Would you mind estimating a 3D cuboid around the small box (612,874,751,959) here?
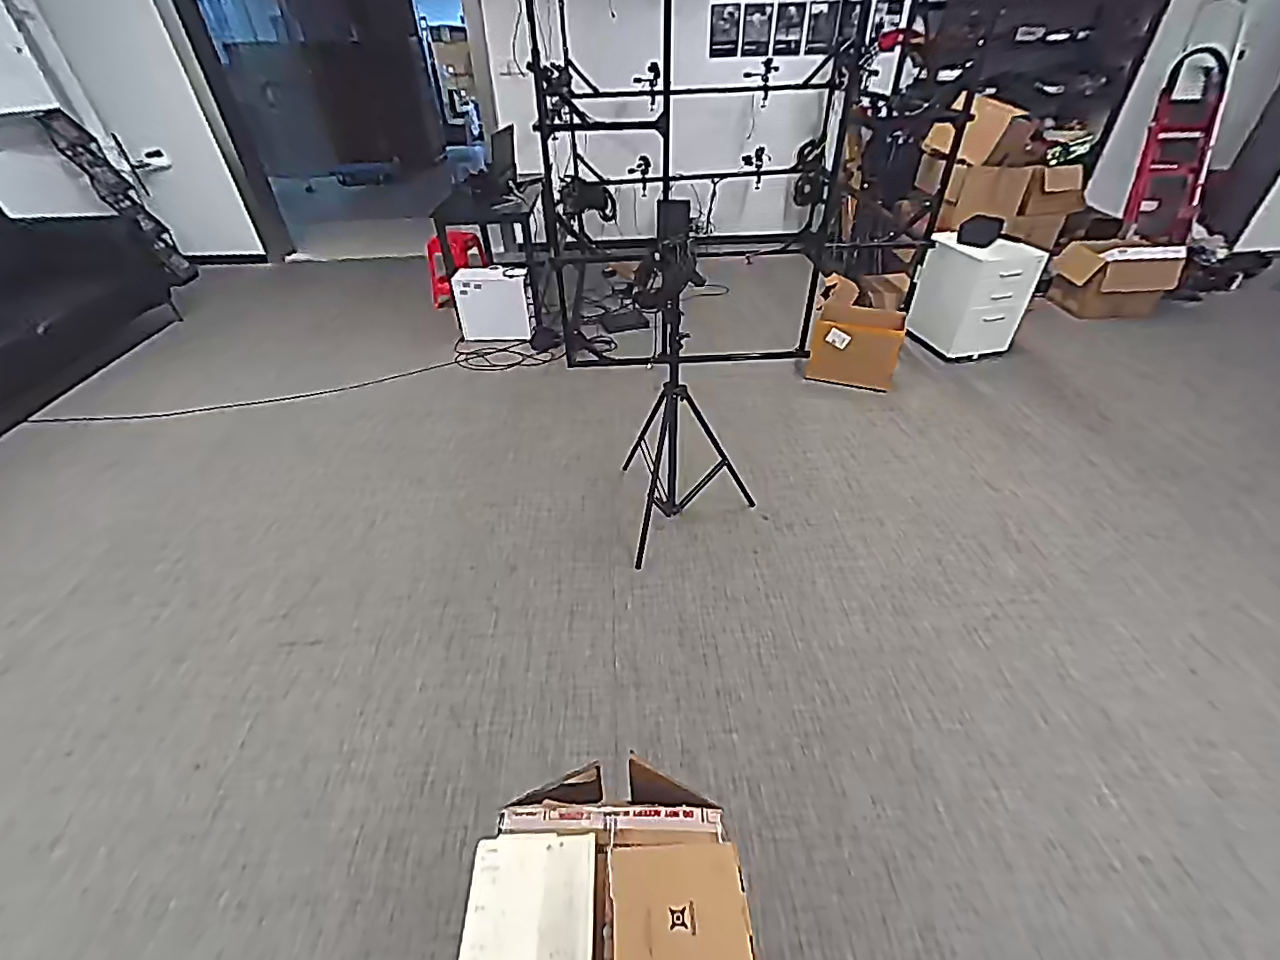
[{"bbox_3d":[0.052,0.656,0.729,0.179,0.176,0.168,-2,40,-3],"label":"small box"}]
